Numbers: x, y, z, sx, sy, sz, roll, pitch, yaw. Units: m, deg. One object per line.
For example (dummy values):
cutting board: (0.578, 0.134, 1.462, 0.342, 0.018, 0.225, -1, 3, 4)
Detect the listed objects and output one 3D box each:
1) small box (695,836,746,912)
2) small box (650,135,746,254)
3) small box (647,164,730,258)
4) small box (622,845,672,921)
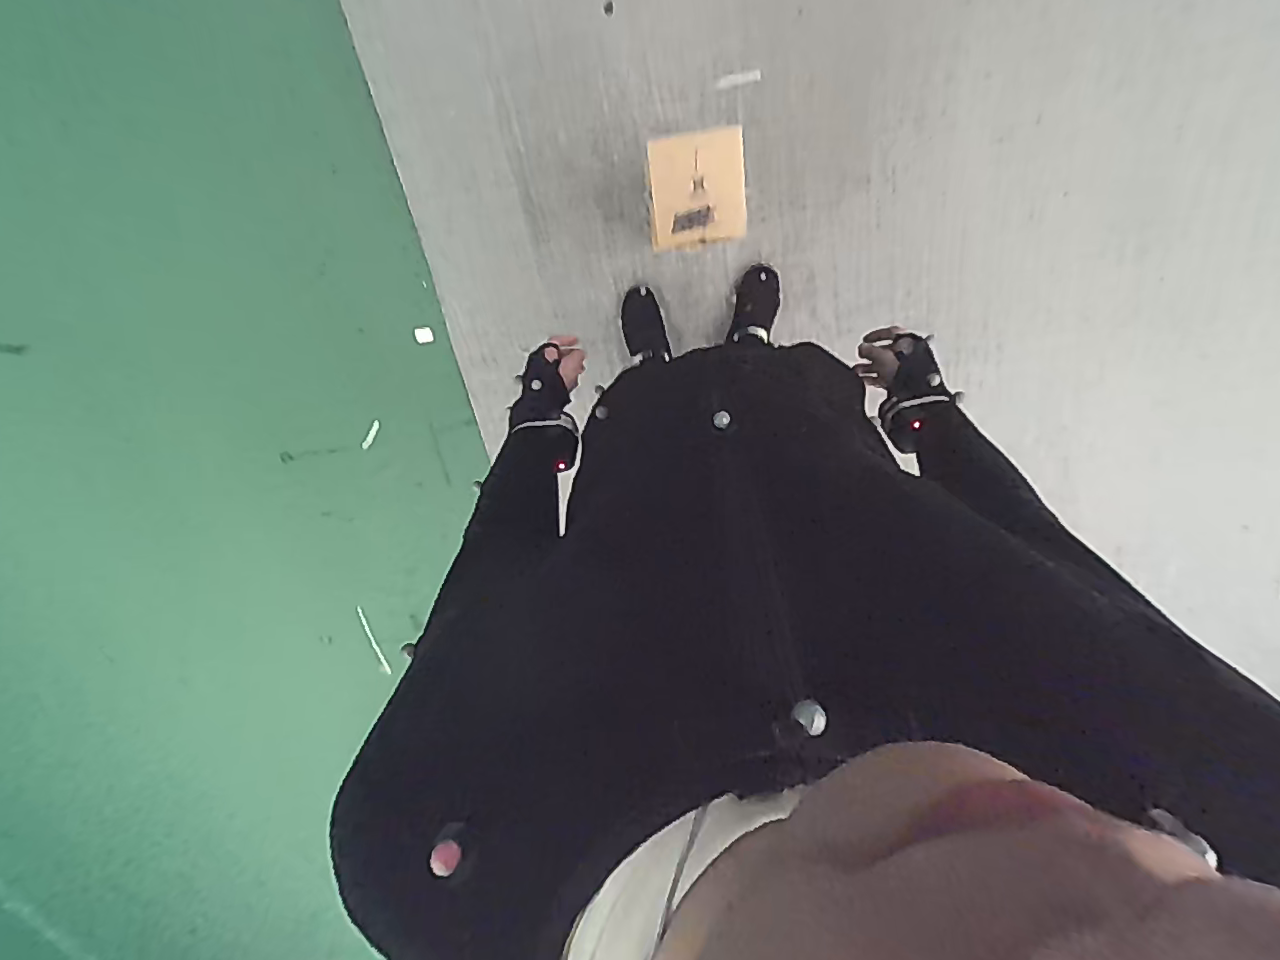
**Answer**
small box: (0.305, 1.504, 2.068, 0.168, 0.176, 0.179, -9, 111, 5)
small box: (0.111, -0.544, 1.047, 0.168, 0.176, 0.179, -6, 113, 4)
small box: (0.105, -0.595, 1.186, 0.168, 0.176, 0.179, -5, 115, 4)
small box: (0.031, 1.556, 2.091, 0.168, 0.176, 0.179, -11, 112, 4)
